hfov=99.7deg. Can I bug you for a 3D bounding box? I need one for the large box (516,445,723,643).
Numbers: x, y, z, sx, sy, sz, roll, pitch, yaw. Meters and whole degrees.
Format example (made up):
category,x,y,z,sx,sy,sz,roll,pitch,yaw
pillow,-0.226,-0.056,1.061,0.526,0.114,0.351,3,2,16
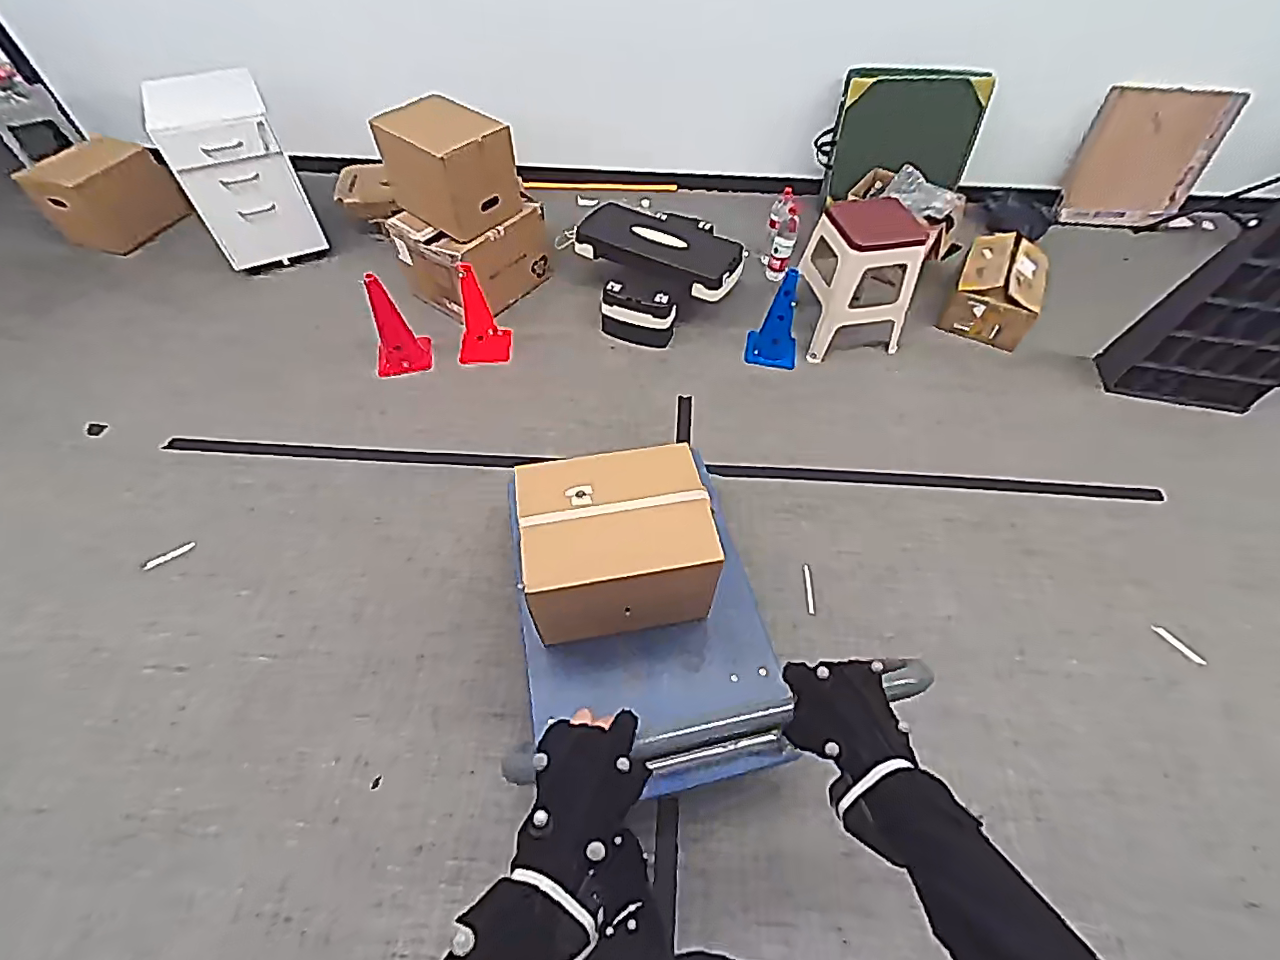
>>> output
category,x,y,z,sx,sy,sz,roll,pitch,yaw
large box,-0.053,0.156,1.274,0.408,0.320,0.320,-9,55,-6
